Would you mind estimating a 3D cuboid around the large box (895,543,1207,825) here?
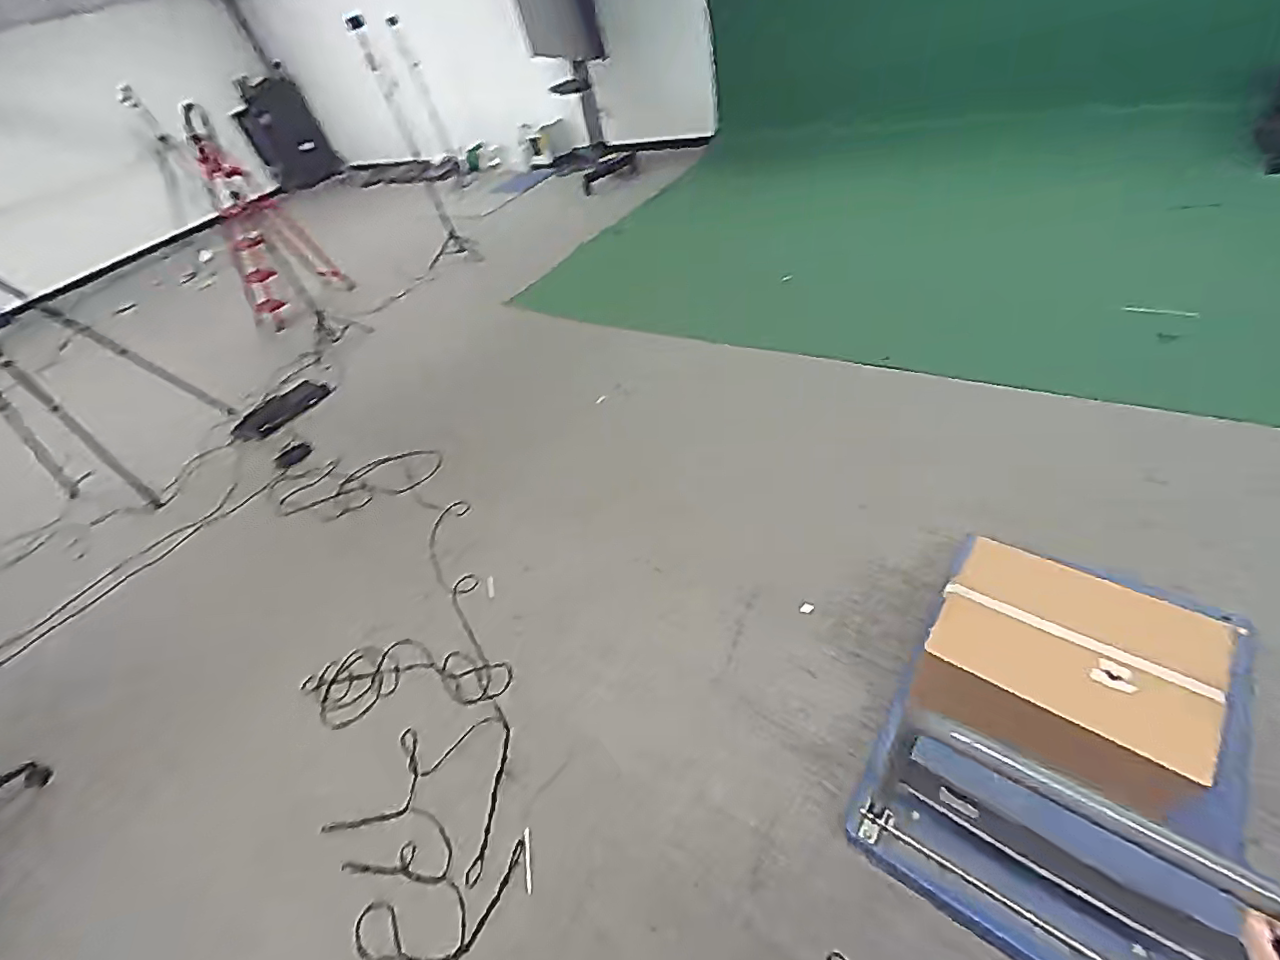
[{"bbox_3d":[0.797,0.399,1.105,0.408,0.320,0.320,24,57,33],"label":"large box"}]
